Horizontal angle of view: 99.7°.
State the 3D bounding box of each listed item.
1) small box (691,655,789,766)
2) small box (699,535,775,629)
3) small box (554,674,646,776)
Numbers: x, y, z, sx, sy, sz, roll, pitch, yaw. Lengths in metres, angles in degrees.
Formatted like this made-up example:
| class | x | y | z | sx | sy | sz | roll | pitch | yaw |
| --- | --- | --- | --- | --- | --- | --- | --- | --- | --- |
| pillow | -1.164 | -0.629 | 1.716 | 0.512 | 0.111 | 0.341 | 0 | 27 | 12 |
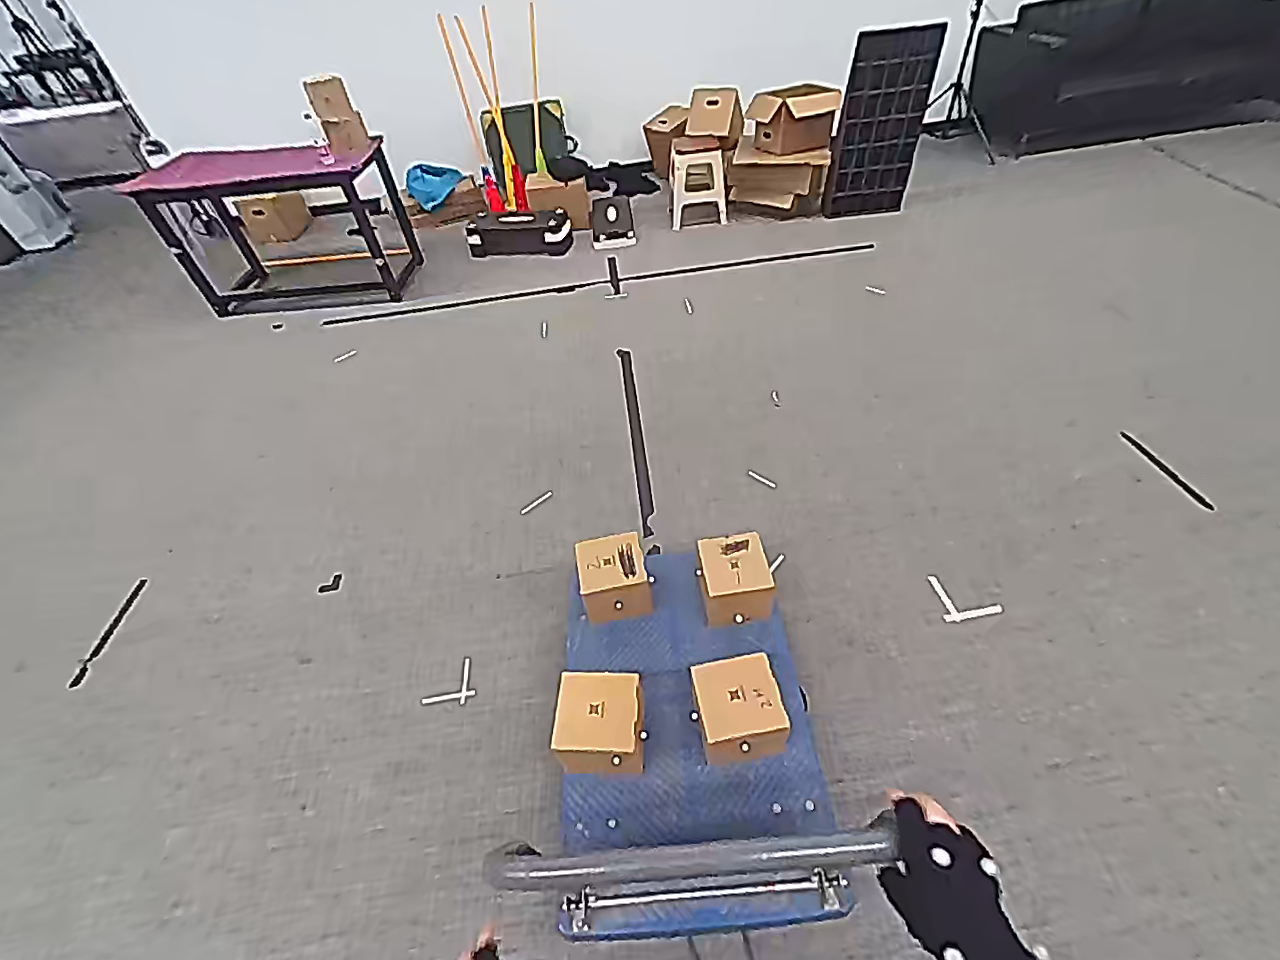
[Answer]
| class | x | y | z | sx | sy | sz | roll | pitch | yaw |
| --- | --- | --- | --- | --- | --- | --- | --- | --- | --- |
| small box | 0.220 | 0.521 | 1.216 | 0.179 | 0.176 | 0.168 | -10 | 46 | -2 |
| small box | 0.251 | 0.274 | 1.448 | 0.168 | 0.176 | 0.179 | -8 | 47 | 0 |
| small box | -0.082 | 0.556 | 1.223 | 0.179 | 0.176 | 0.168 | -1 | 46 | 5 |
